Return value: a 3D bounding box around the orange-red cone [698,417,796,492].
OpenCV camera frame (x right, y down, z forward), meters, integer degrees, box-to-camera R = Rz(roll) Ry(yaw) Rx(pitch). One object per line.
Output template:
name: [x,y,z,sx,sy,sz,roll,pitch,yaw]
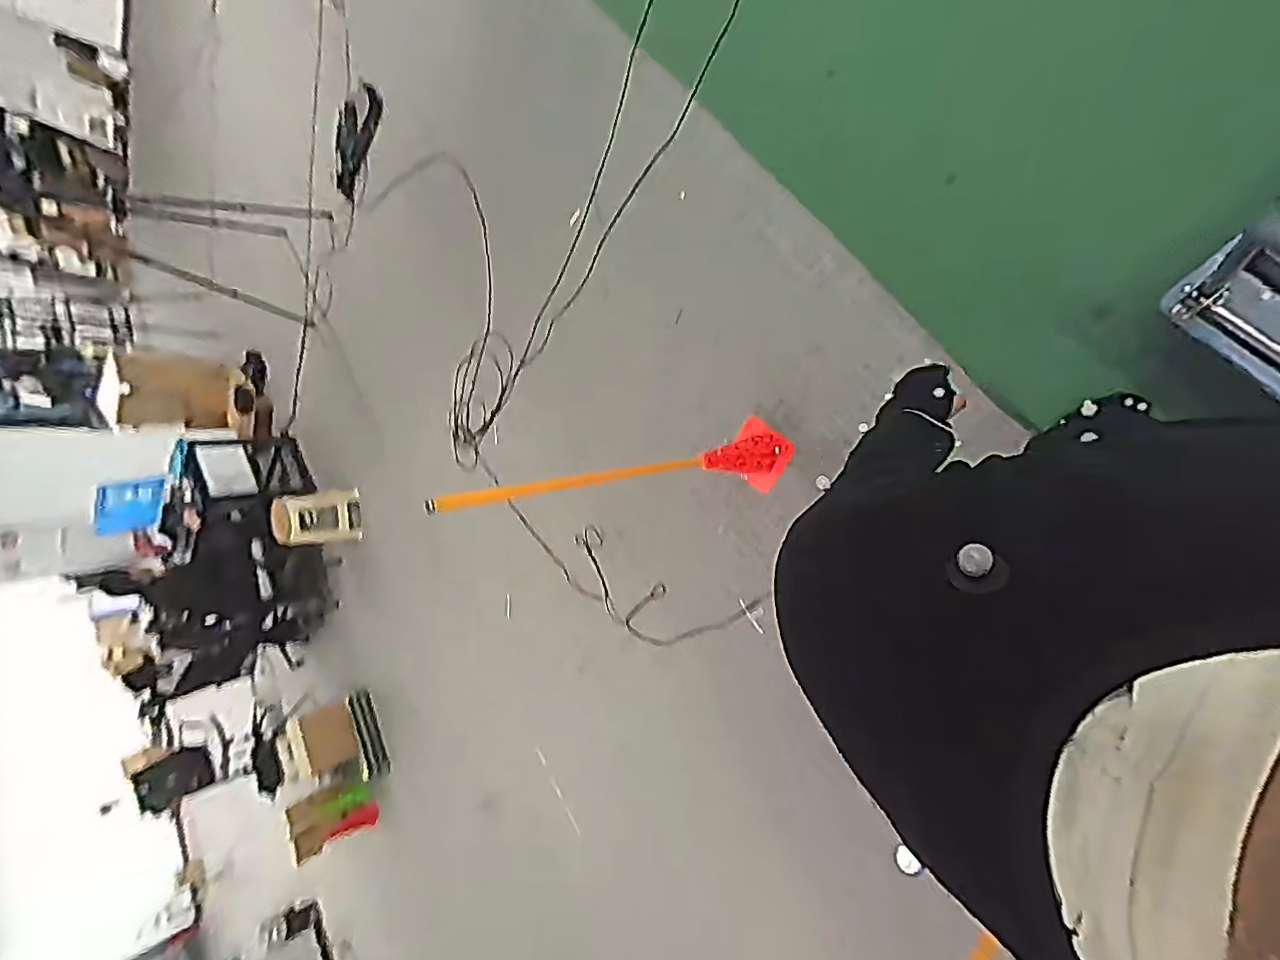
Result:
orange-red cone: [0.293,-0.073,1.678,0.199,0.360,0.198,45,120,29]
